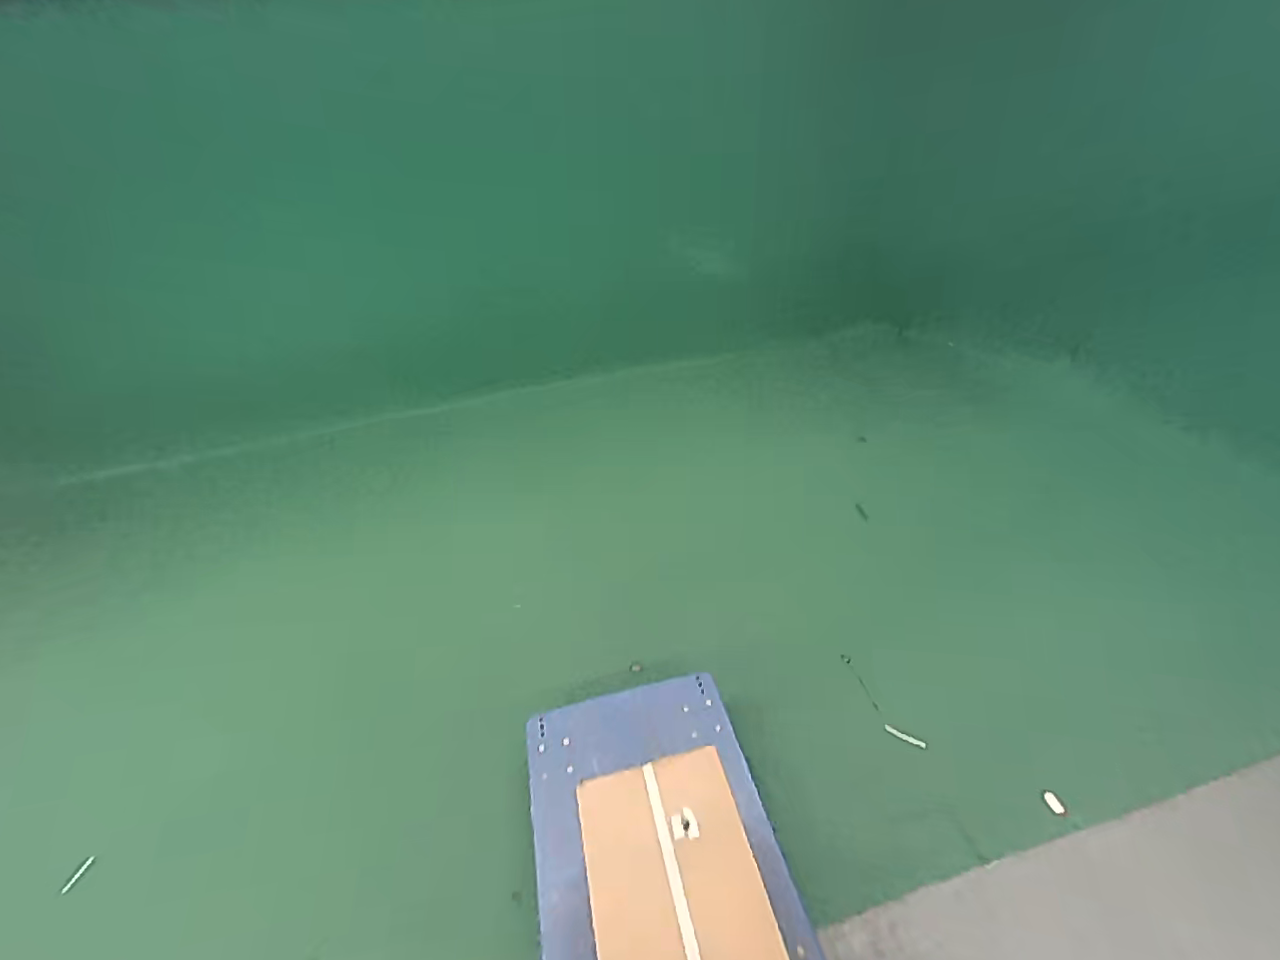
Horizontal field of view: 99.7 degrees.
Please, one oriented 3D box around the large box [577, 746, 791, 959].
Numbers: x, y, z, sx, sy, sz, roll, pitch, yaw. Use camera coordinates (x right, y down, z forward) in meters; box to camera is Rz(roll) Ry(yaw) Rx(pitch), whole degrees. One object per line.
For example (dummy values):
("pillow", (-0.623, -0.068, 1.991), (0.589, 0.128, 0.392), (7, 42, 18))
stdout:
("large box", (0.076, 0.850, 1.108), (0.320, 0.320, 0.408), (-12, 37, -8))
